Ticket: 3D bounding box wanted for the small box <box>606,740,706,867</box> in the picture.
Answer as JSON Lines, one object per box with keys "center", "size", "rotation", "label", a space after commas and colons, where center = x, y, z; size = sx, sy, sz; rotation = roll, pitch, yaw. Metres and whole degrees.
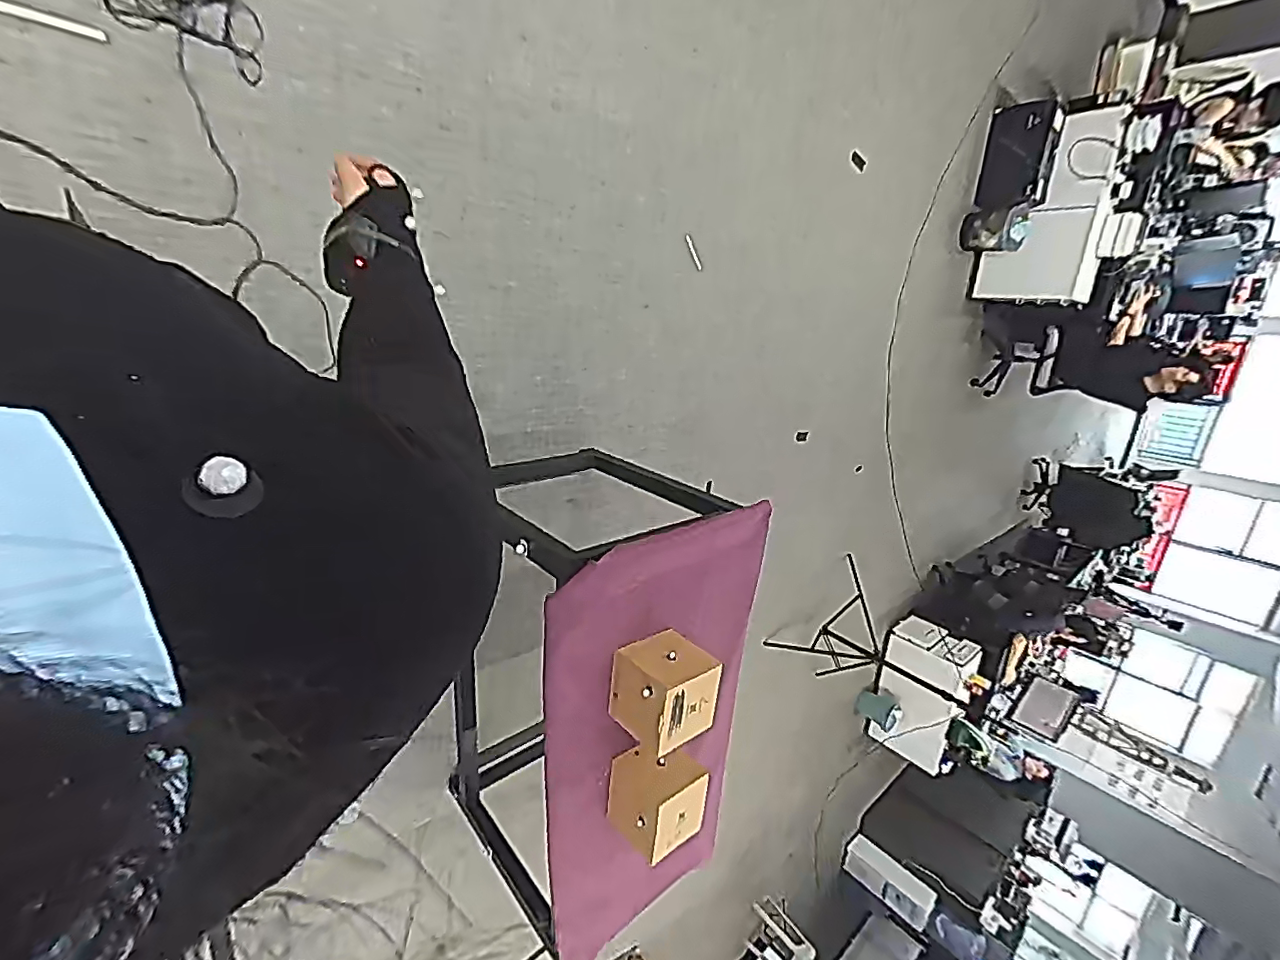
{"center": [0.033, 0.759, 1.299], "size": [0.168, 0.176, 0.179], "rotation": [-7, 111, -41], "label": "small box"}
